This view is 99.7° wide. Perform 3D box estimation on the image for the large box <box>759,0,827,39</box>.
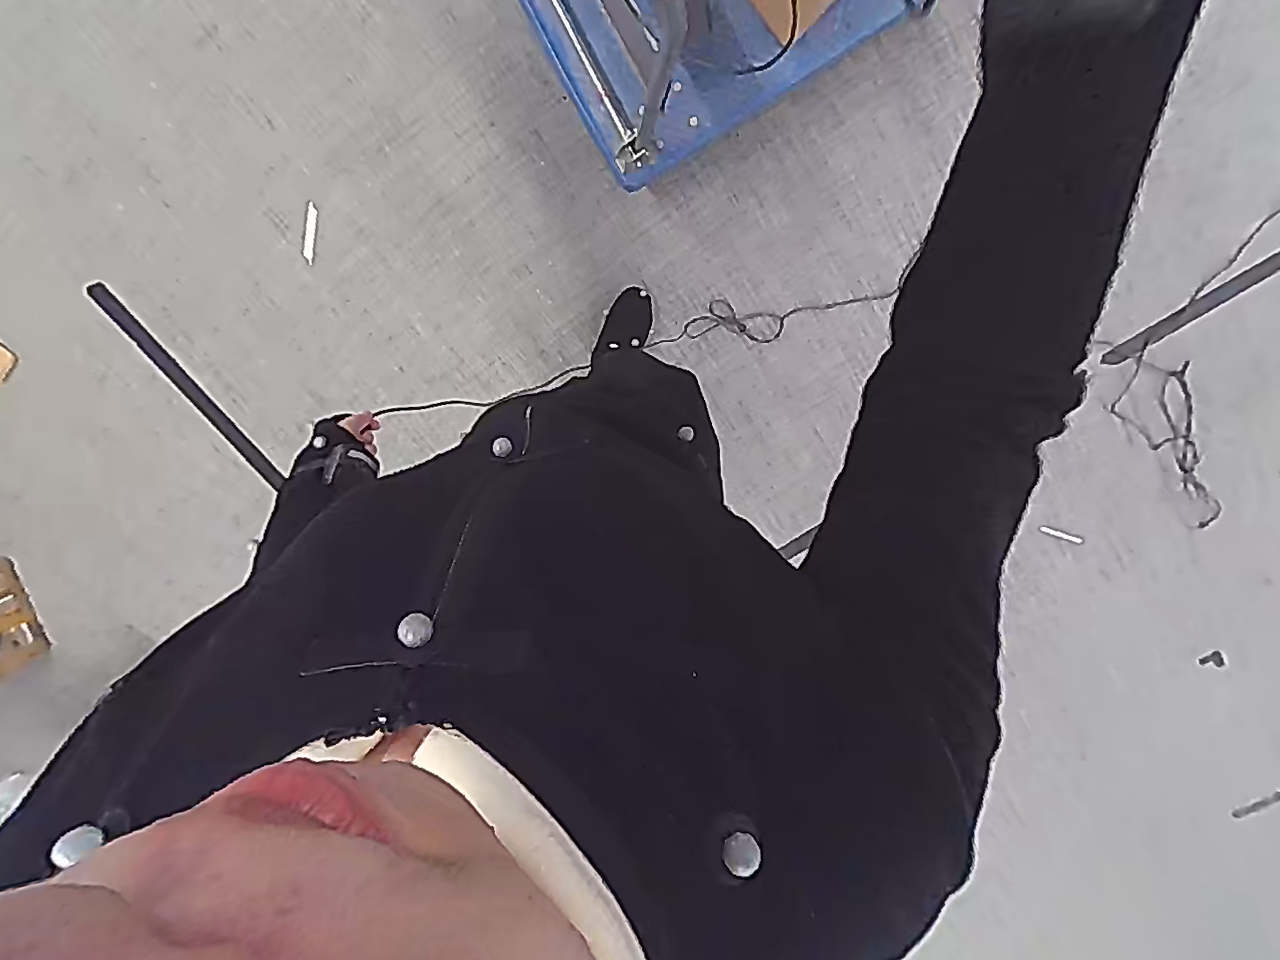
[{"bbox_3d":[0.260,-1.037,0.835,0.408,0.320,0.320,43,104,-15],"label":"large box"}]
